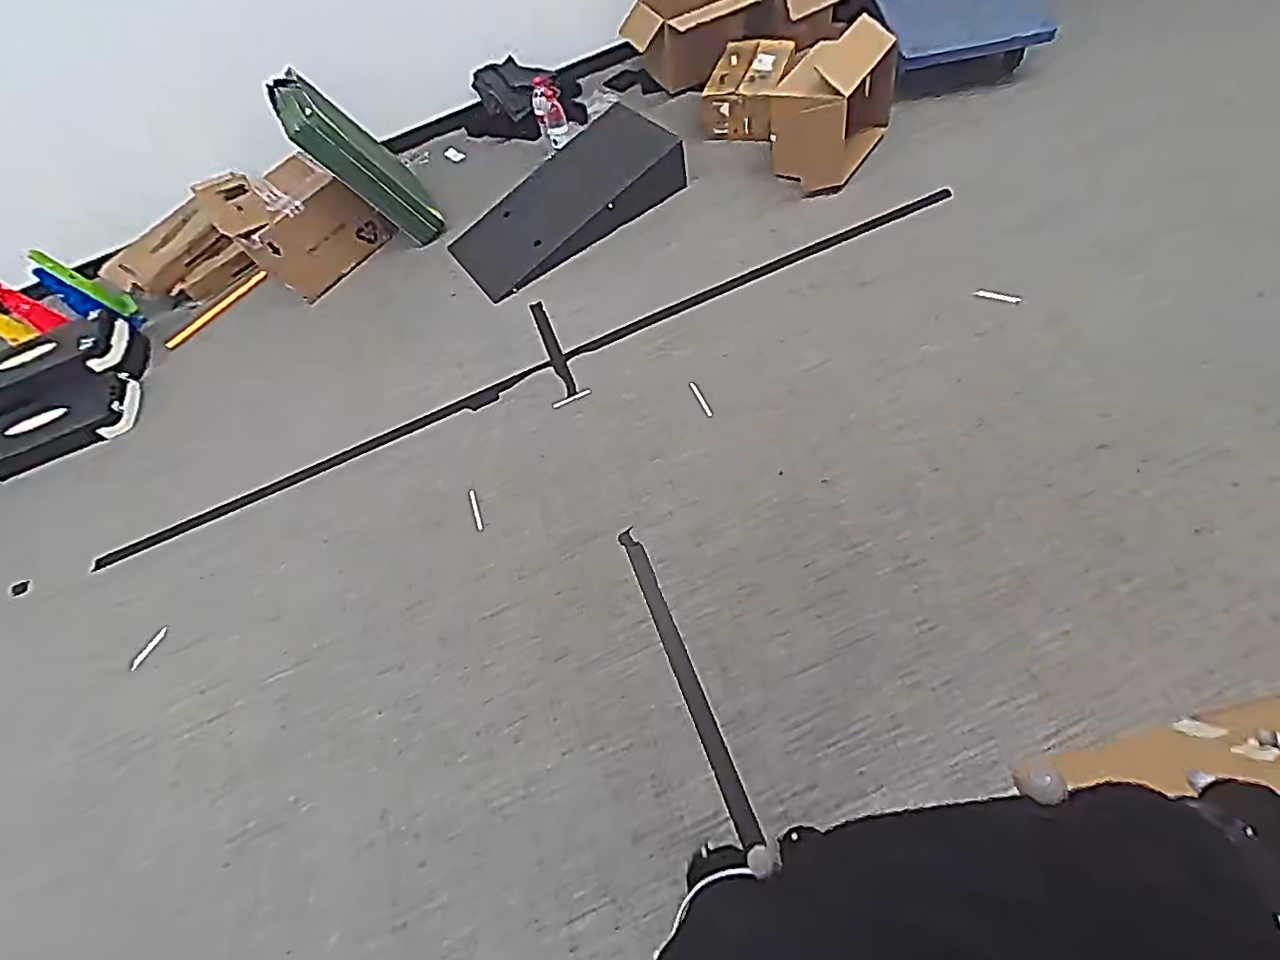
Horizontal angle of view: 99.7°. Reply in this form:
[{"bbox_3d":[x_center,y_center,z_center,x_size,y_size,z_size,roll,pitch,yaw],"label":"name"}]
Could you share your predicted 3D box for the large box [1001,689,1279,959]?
[{"bbox_3d":[0.536,0.404,0.352,0.320,0.320,0.408,-24,77,13],"label":"large box"}]
